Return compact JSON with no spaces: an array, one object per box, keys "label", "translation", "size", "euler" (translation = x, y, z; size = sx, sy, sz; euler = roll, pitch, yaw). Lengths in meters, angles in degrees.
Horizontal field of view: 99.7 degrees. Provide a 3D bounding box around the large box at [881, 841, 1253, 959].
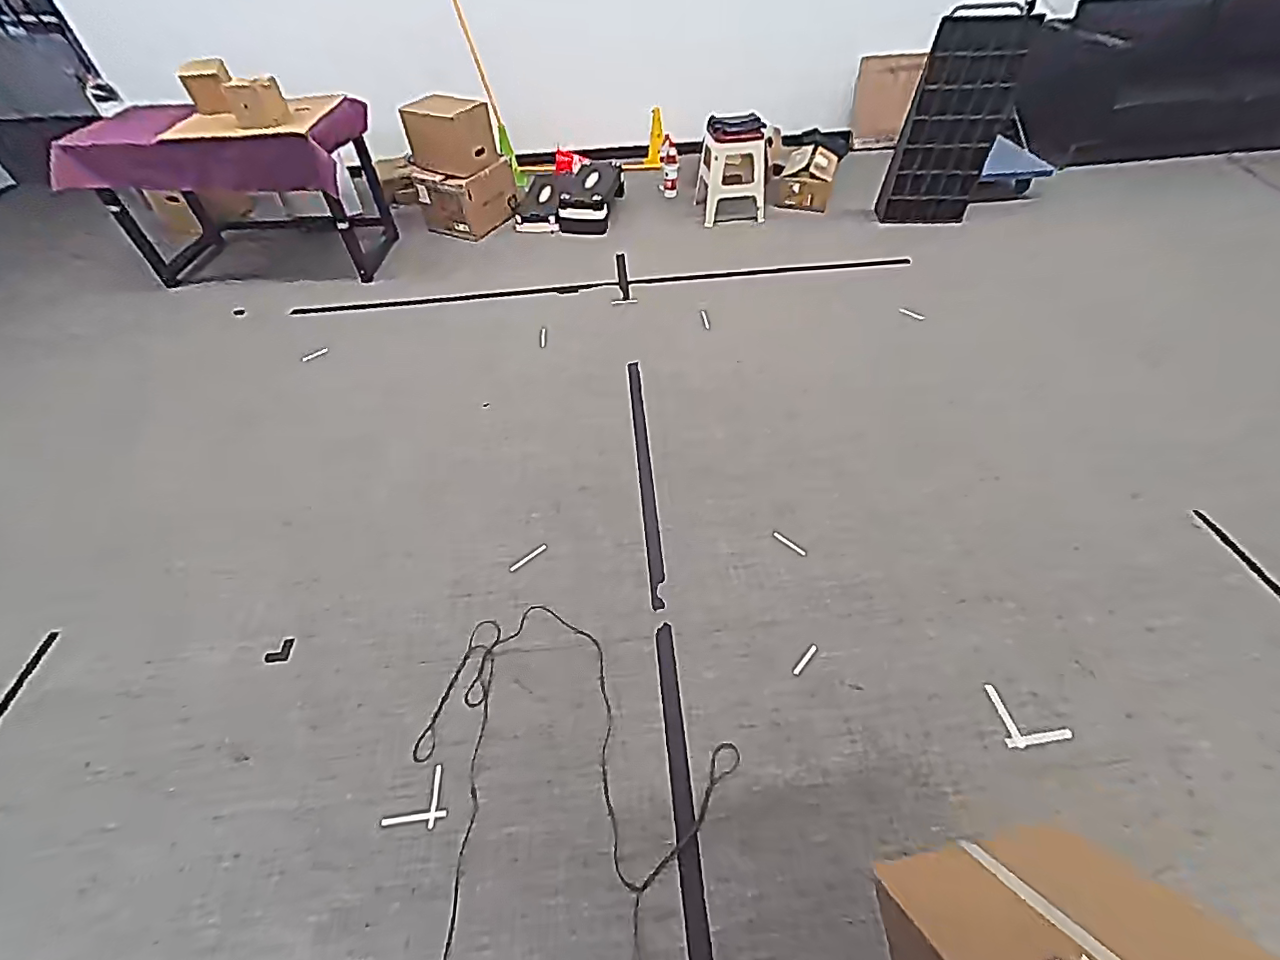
[{"label":"large box","translation":[0.550,0.708,0.623],"size":[0.320,0.408,0.320],"euler":[-10,83,-5]}]
